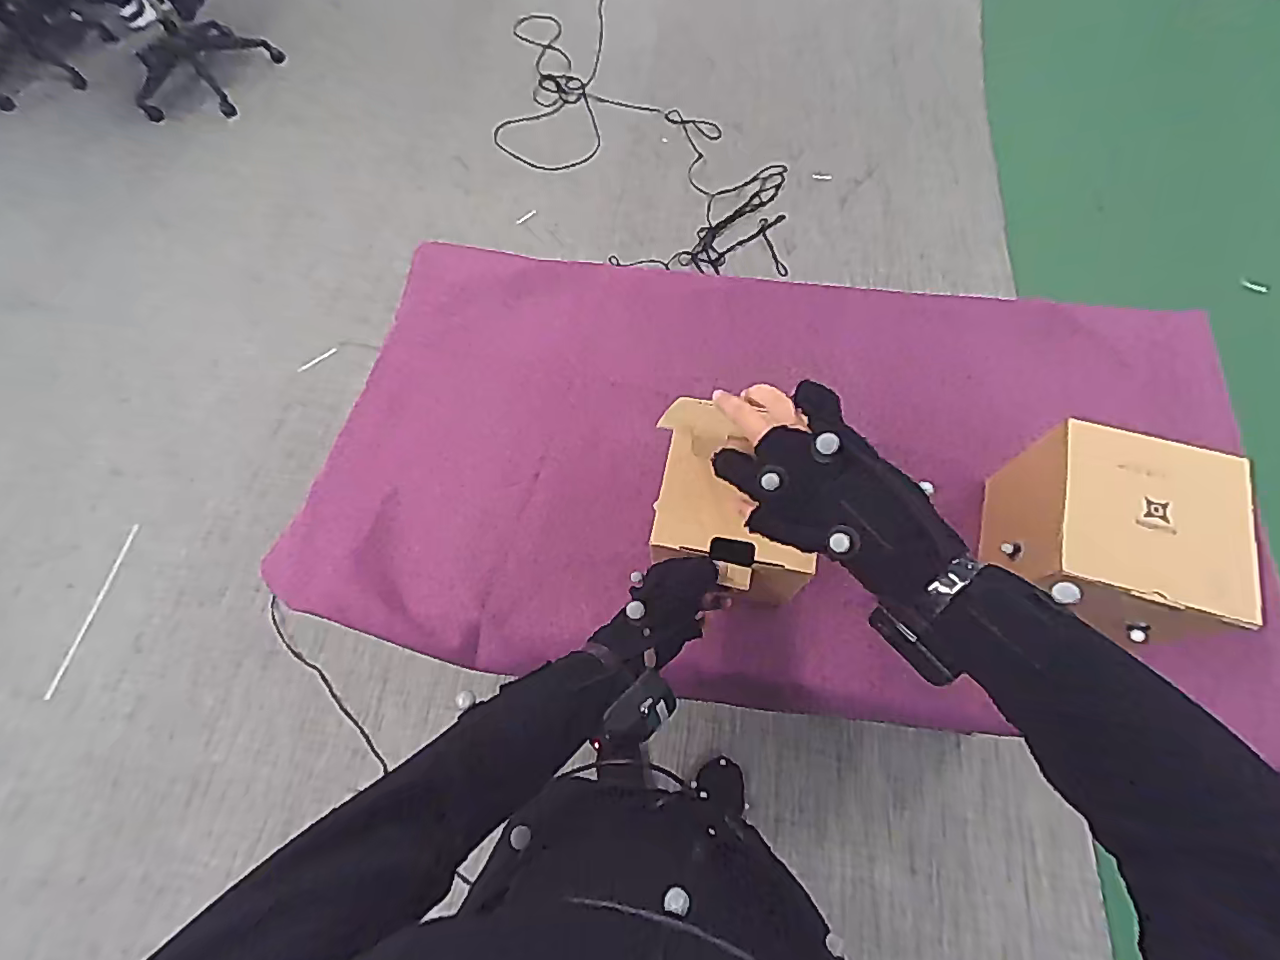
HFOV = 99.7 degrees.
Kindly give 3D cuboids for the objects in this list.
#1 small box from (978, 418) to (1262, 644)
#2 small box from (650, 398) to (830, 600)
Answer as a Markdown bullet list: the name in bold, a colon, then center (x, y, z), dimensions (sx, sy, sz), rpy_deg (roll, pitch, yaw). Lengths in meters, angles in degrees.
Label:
- **small box**: center (0.498, 0.064, 0.588), dimensions (0.168, 0.176, 0.179), rpy_deg (17, 68, 11)
- **small box**: center (0.113, 0.031, 0.633), dimensions (0.168, 0.176, 0.179), rpy_deg (10, 67, 8)
